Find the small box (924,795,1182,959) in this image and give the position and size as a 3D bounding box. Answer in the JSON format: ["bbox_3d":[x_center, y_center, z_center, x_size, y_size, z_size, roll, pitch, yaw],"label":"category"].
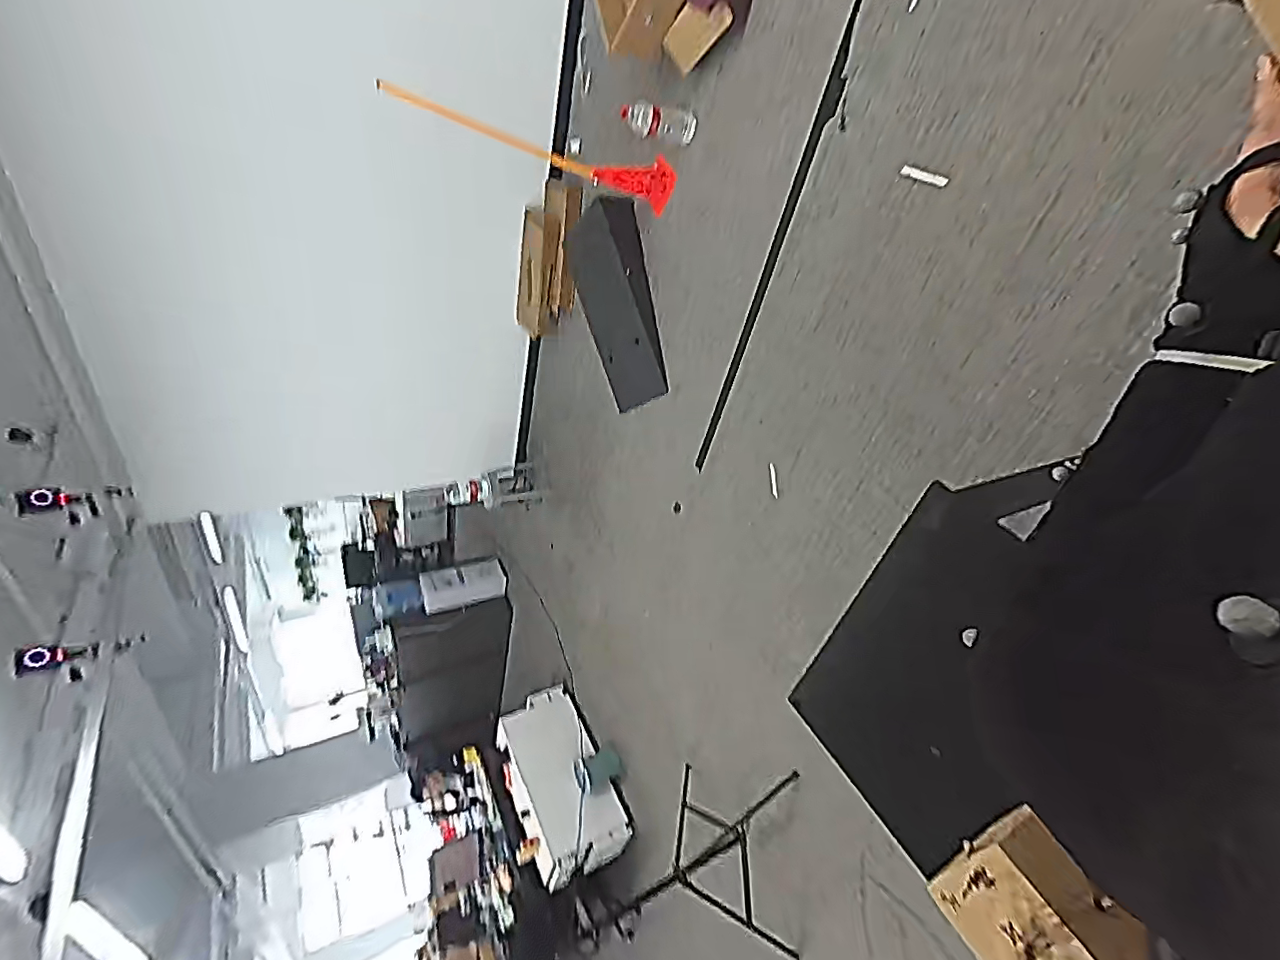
[{"bbox_3d":[0.522,0.553,0.692,0.179,0.176,0.168,51,138,38],"label":"small box"}]
